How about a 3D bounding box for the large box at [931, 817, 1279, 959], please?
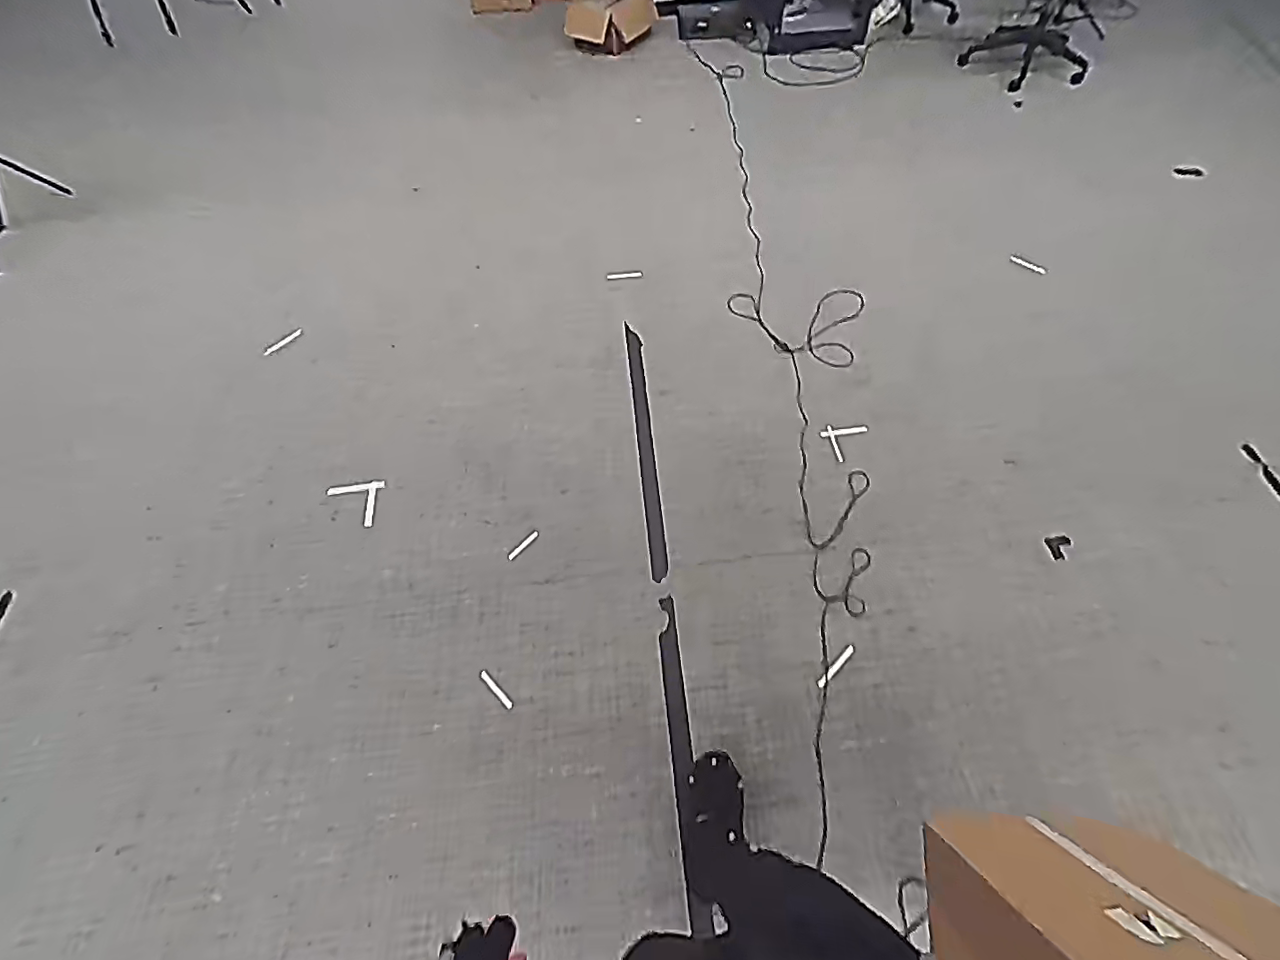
[{"bbox_3d":[0.584,0.645,0.611,0.320,0.408,0.320,1,81,3],"label":"large box"}]
